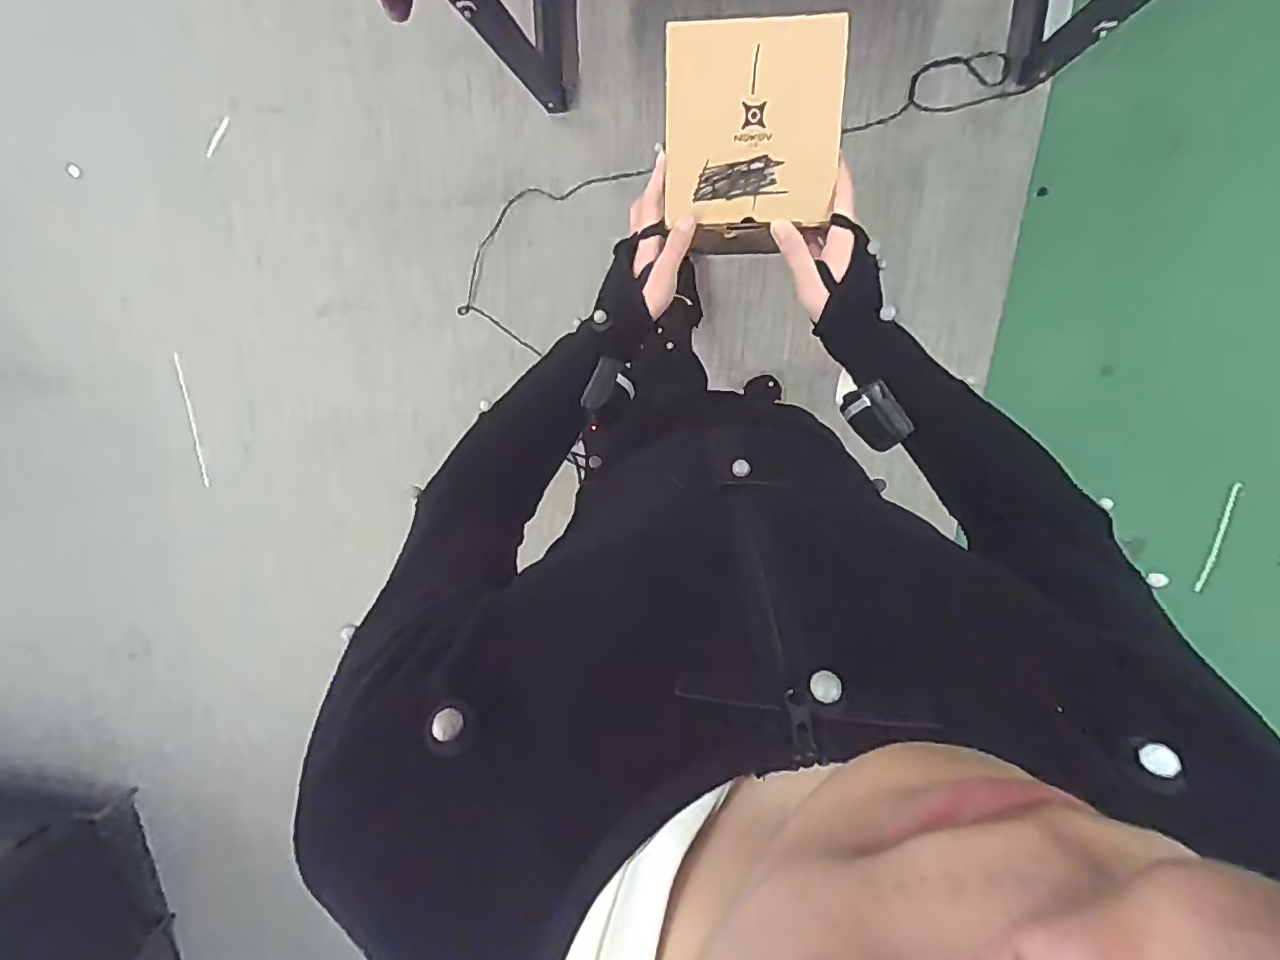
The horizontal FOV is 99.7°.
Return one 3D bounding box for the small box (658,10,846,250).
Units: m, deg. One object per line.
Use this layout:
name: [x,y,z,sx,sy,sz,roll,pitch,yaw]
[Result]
small box: [0.107,-0.352,0.581,0.168,0.176,0.179,1,103,4]
